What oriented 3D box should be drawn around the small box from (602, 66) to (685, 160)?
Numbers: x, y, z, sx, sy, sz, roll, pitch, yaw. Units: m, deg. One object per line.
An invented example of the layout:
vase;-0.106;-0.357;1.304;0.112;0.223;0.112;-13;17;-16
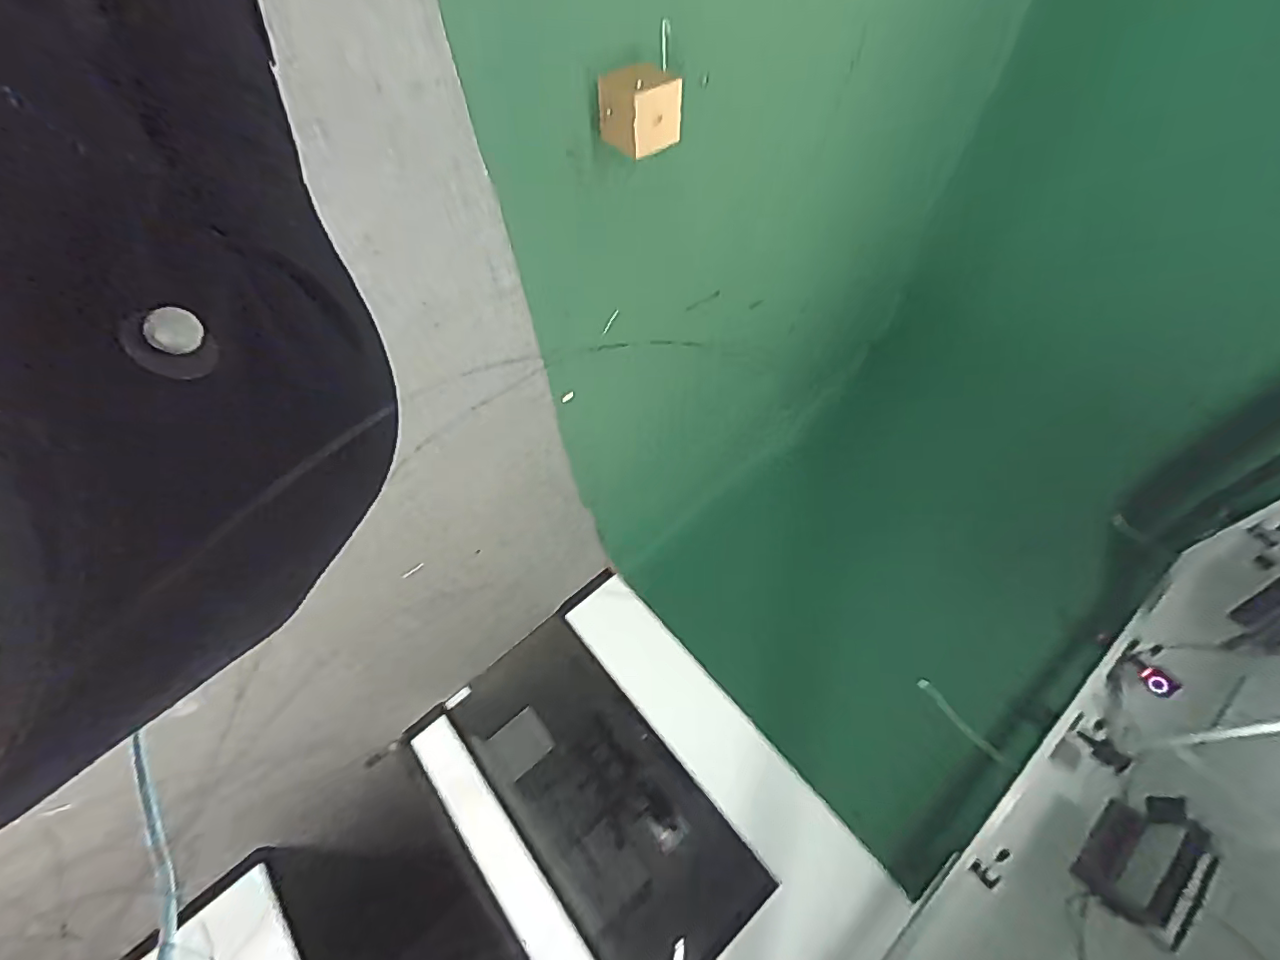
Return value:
small box;0.008;-1.081;1.586;0.179;0.176;0.168;-35;152;-20
